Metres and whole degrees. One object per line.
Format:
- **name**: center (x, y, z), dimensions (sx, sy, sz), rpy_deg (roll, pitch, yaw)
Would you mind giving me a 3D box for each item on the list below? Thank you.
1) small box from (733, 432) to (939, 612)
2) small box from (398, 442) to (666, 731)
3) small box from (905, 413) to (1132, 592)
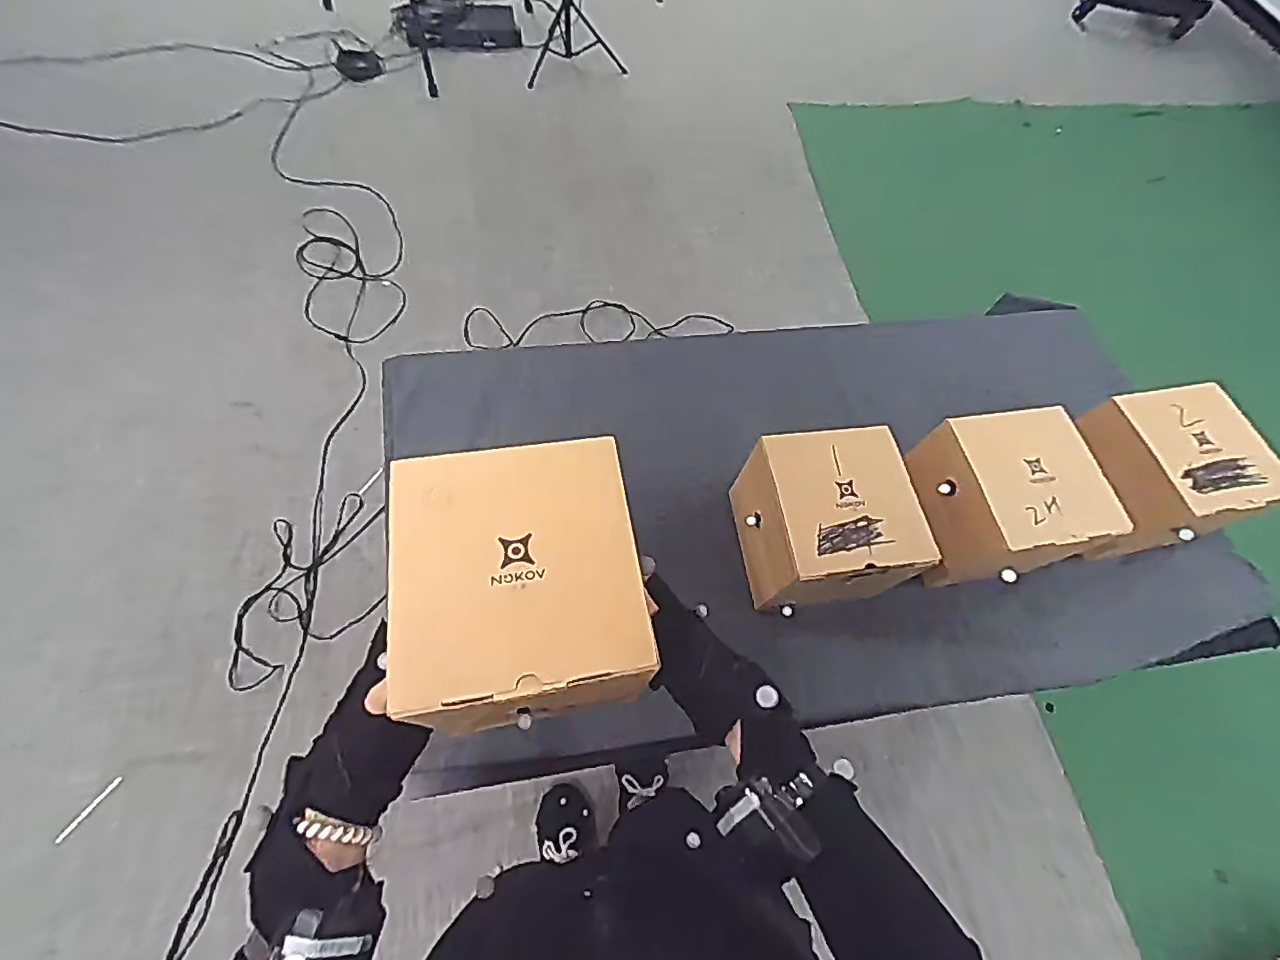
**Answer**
- **small box**: center (0.228, 0.061, 0.681), dimensions (0.168, 0.176, 0.179), rpy_deg (-5, 64, -8)
- **small box**: center (-0.087, 0.091, 0.437), dimensions (0.168, 0.176, 0.179), rpy_deg (-7, 64, -11)
- **small box**: center (0.466, 0.034, 0.716), dimensions (0.168, 0.176, 0.179), rpy_deg (-7, 65, -8)
